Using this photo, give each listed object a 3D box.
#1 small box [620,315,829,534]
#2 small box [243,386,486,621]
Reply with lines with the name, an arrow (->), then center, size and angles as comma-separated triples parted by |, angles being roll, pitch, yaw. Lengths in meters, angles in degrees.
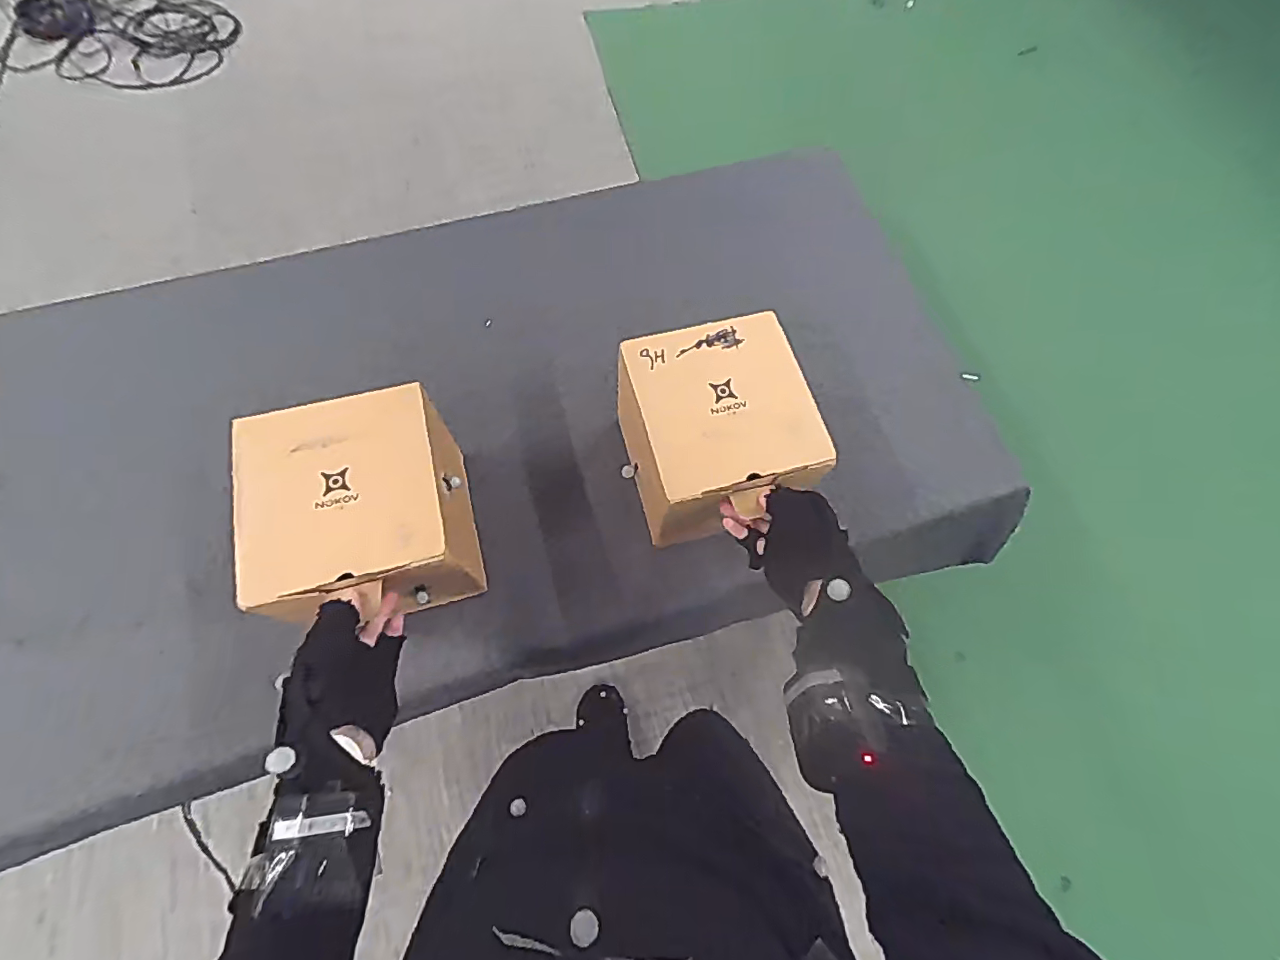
small box -> 0.076, -0.048, 0.598 | 0.168, 0.176, 0.179 | -13, 71, -8
small box -> -0.265, 0.035, 0.549 | 0.168, 0.176, 0.179 | -14, 69, -10
